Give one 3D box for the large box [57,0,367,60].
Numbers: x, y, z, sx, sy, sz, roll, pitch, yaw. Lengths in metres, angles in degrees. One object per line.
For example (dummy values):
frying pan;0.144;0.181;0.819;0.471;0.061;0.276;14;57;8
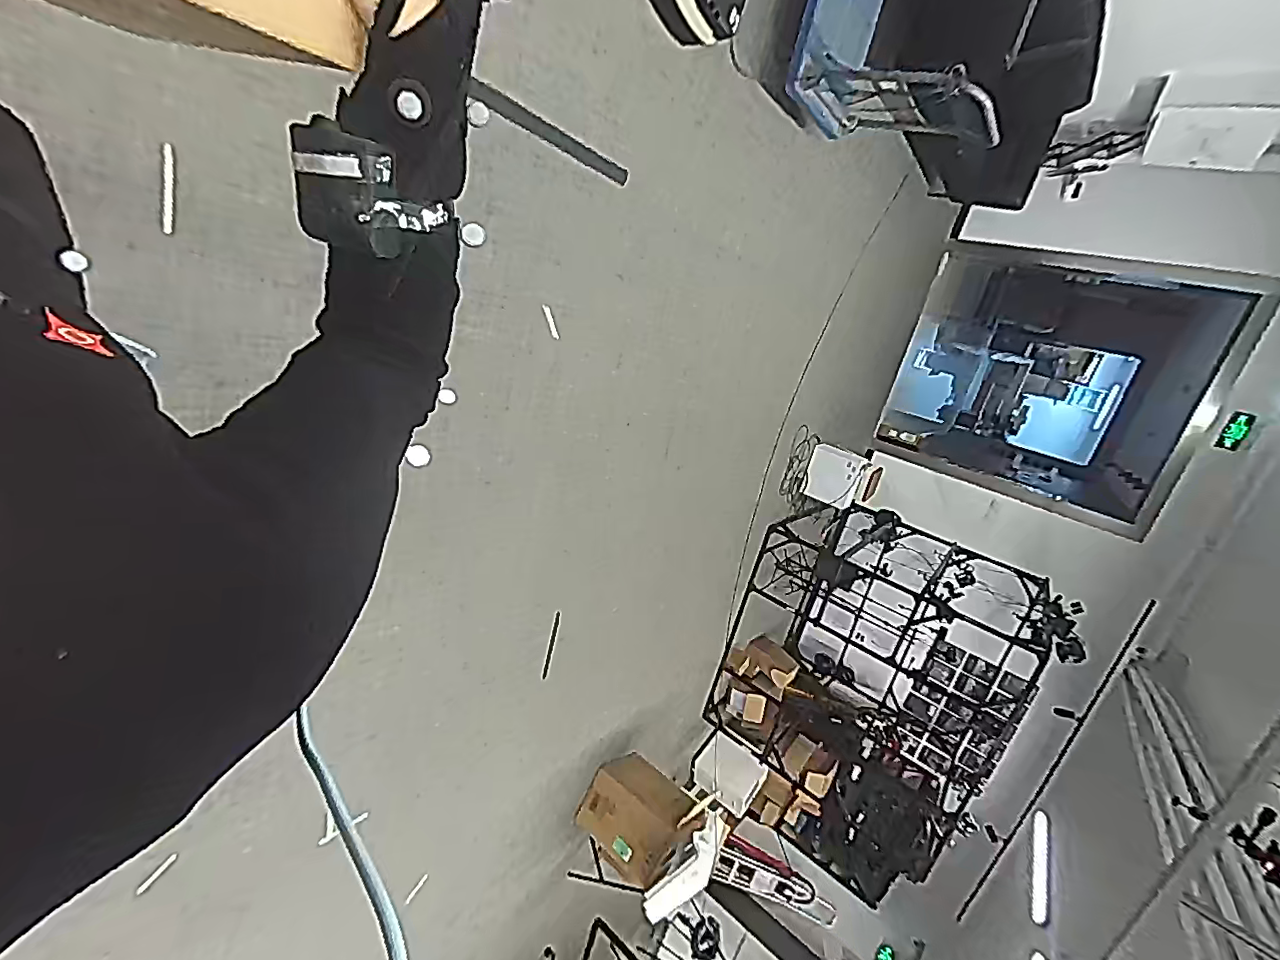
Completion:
large box;-0.339;-0.380;0.138;0.408;0.320;0.320;-18;131;-54
